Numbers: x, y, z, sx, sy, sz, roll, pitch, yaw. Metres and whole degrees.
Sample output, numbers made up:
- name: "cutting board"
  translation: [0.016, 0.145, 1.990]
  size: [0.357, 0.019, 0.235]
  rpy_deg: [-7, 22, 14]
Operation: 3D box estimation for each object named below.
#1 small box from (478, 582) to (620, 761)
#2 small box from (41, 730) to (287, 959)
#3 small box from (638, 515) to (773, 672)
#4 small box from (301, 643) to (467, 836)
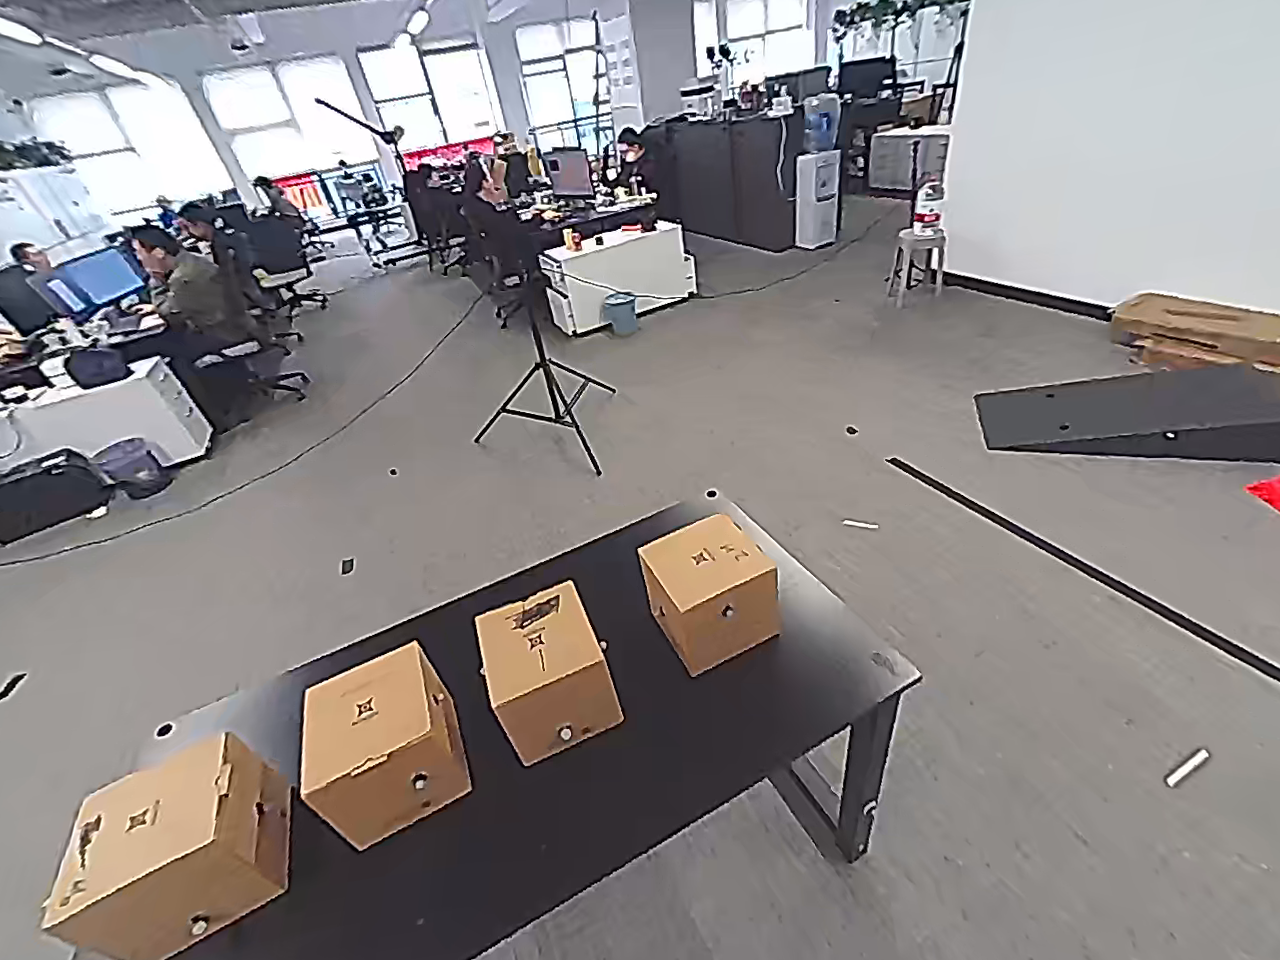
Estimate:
- name: "small box"
  translation: [-0.144, 0.301, 0.858]
  size: [0.168, 0.176, 0.179]
  rpy_deg: [-20, 37, -13]
- name: "small box"
  translation: [-0.602, 0.483, 0.720]
  size: [0.179, 0.176, 0.168]
  rpy_deg: [-23, 37, -18]
- name: "small box"
  translation: [0.117, 0.196, 0.935]
  size: [0.179, 0.176, 0.168]
  rpy_deg: [-21, 37, -14]
- name: "small box"
  translation: [-0.372, 0.386, 0.801]
  size: [0.168, 0.176, 0.179]
  rpy_deg: [-22, 36, -17]
